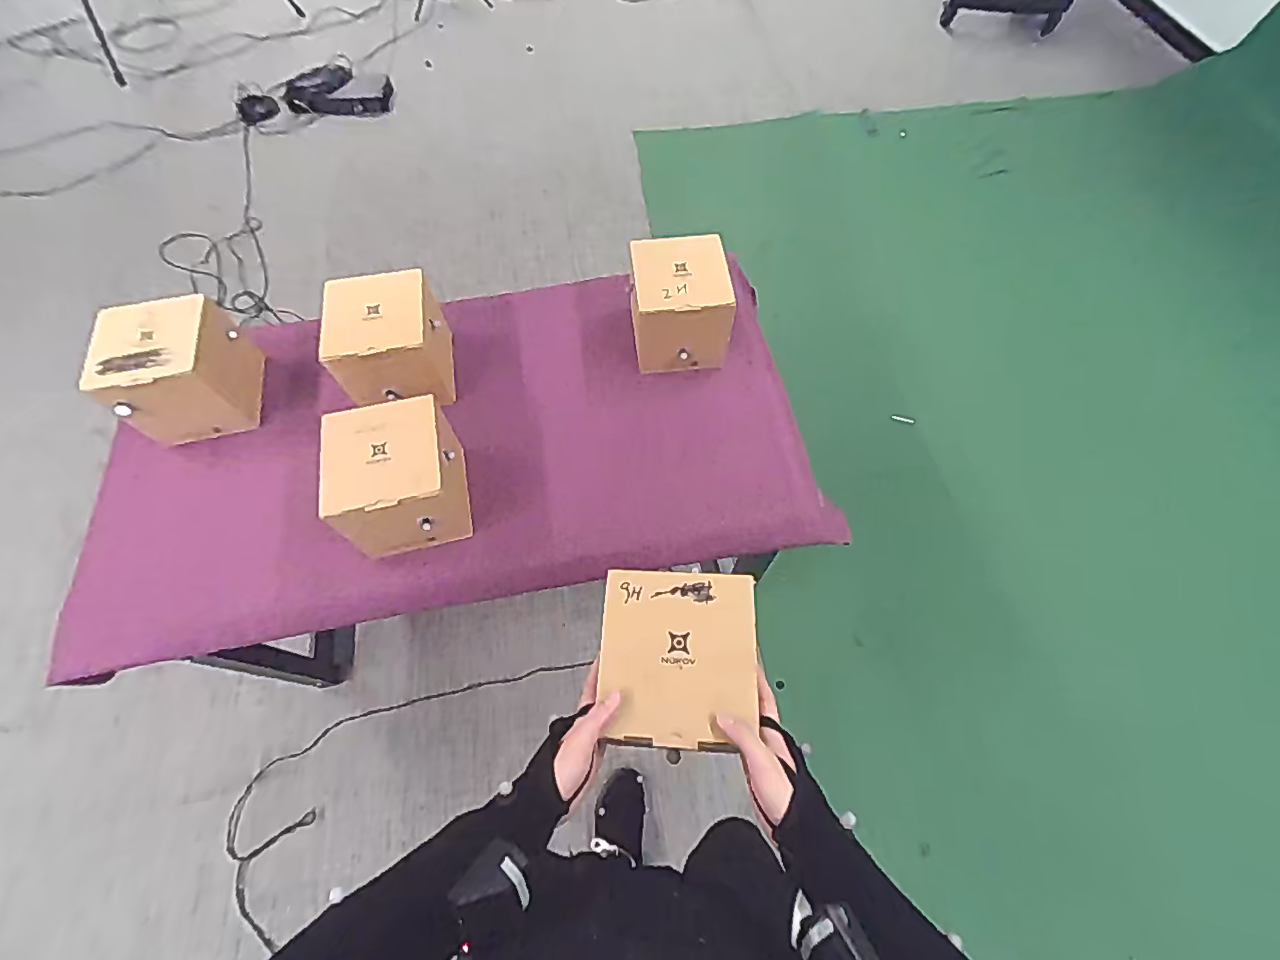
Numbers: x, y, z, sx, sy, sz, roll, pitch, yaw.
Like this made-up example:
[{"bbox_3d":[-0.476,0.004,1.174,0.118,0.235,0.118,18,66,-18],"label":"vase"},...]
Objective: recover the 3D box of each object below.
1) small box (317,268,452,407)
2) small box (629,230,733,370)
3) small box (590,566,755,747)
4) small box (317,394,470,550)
[{"bbox_3d":[-0.445,-0.243,0.966,0.168,0.176,0.179,-10,65,-5],"label":"small box"},{"bbox_3d":[0.068,-0.329,1.000,0.168,0.176,0.179,-6,64,-1],"label":"small box"},{"bbox_3d":[0.042,0.212,0.634,0.168,0.176,0.179,2,63,4],"label":"small box"},{"bbox_3d":[-0.374,-0.002,0.843,0.168,0.176,0.179,-12,63,-6],"label":"small box"}]
